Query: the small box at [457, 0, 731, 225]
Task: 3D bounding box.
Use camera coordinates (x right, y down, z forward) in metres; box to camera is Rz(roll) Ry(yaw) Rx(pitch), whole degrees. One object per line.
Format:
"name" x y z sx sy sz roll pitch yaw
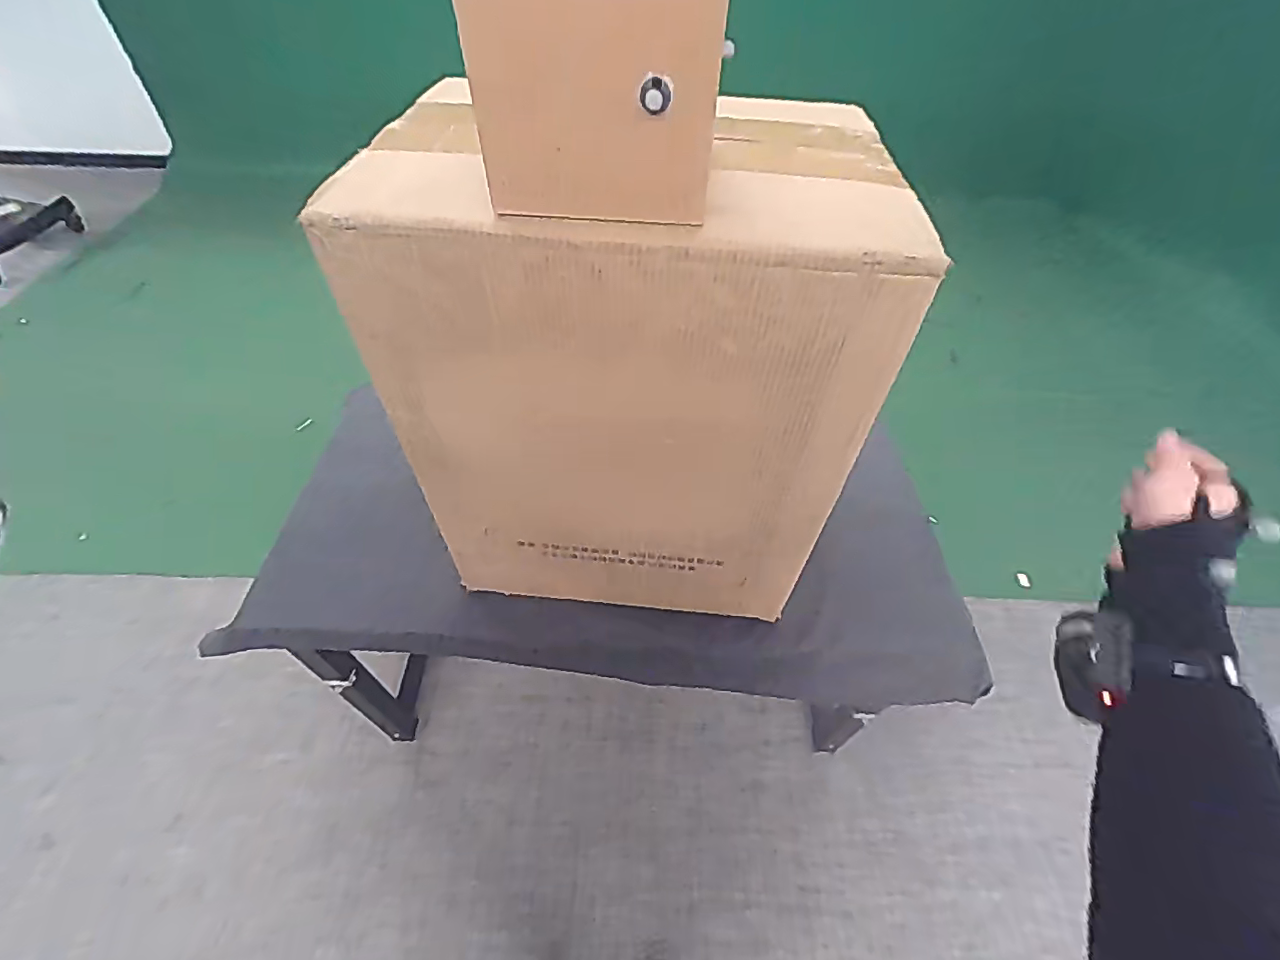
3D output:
"small box" -0.025 -0.326 0.436 0.179 0.176 0.168 4 52 3
